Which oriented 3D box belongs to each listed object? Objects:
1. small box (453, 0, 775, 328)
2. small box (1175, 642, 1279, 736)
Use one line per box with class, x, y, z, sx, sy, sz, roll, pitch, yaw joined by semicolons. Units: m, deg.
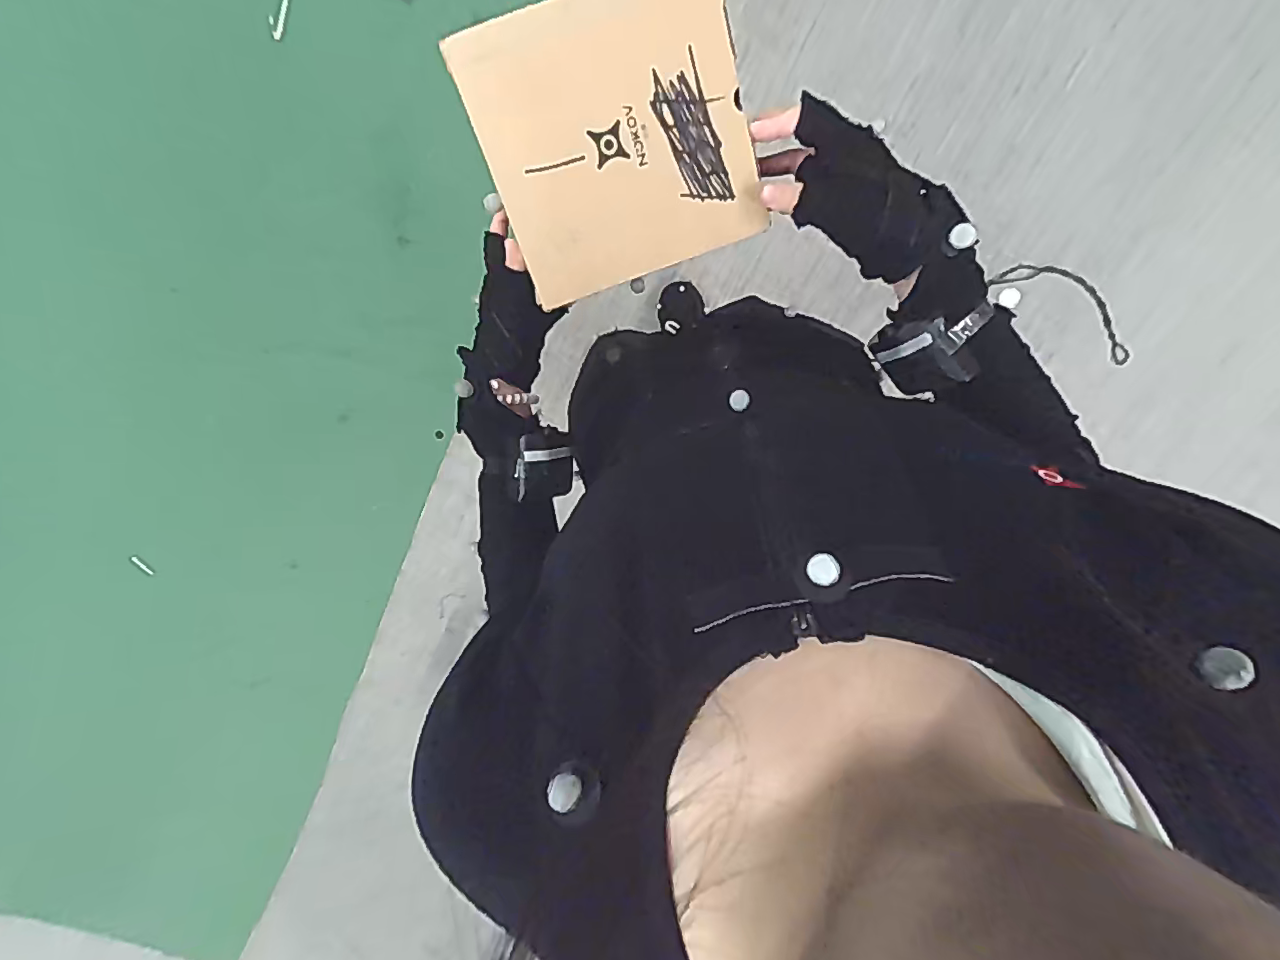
small box;-0.021;-0.234;0.425;0.179;0.176;0.168;-21;113;-1
small box;1.810;0.633;1.649;0.168;0.176;0.179;24;106;-7
